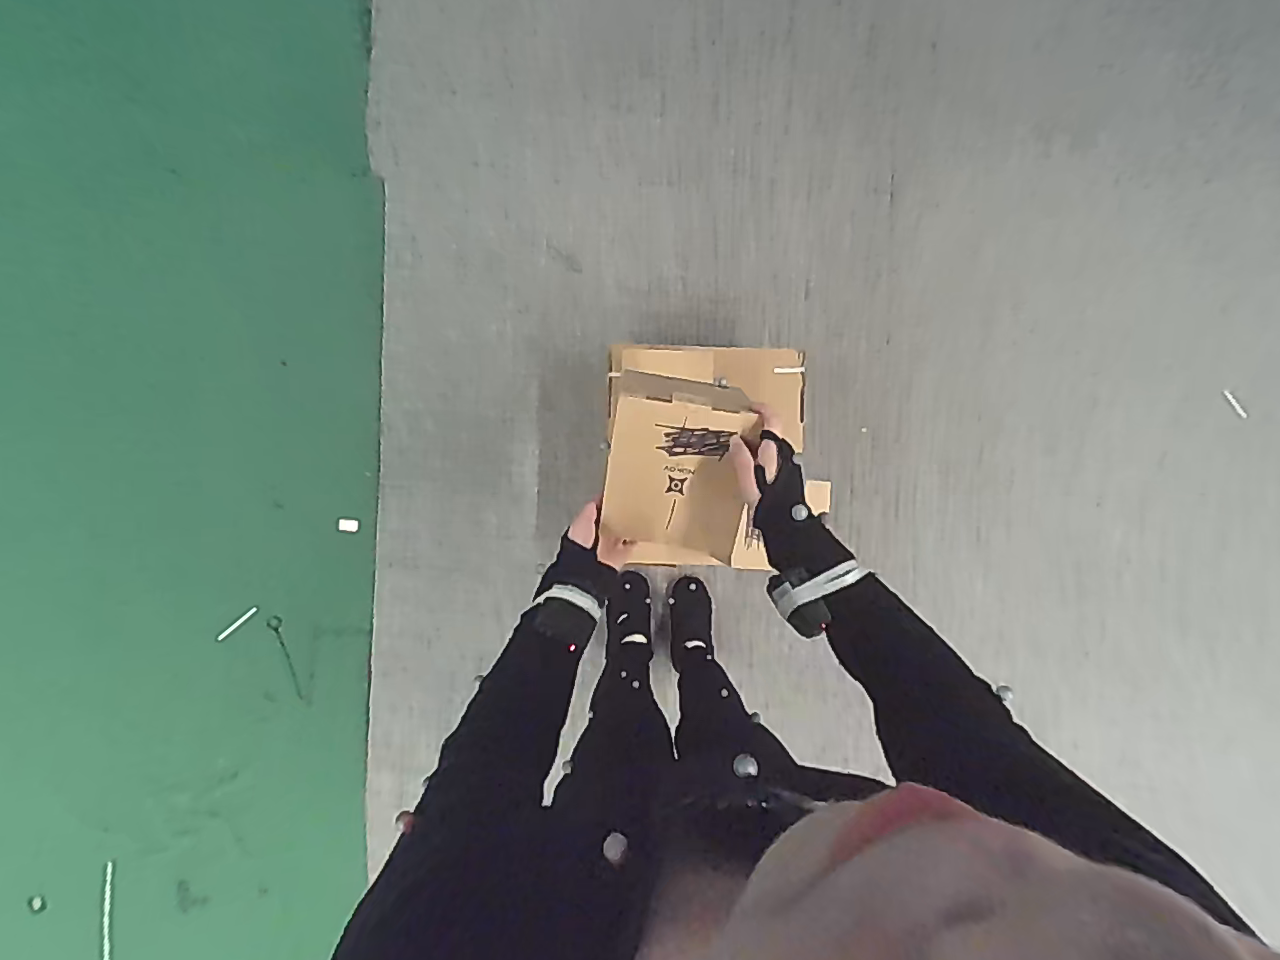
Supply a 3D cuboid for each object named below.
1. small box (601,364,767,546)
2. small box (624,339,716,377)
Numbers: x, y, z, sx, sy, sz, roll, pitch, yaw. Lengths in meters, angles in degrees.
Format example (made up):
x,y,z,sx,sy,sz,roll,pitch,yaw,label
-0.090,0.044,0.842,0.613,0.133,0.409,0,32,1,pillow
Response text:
x,y,z,sx,sy,sz,roll,pitch,yaw,label
0.047,-0.041,0.686,0.168,0.176,0.179,8,112,-2,small box
0.049,-0.158,1.036,0.168,0.176,0.179,1,87,-1,small box
